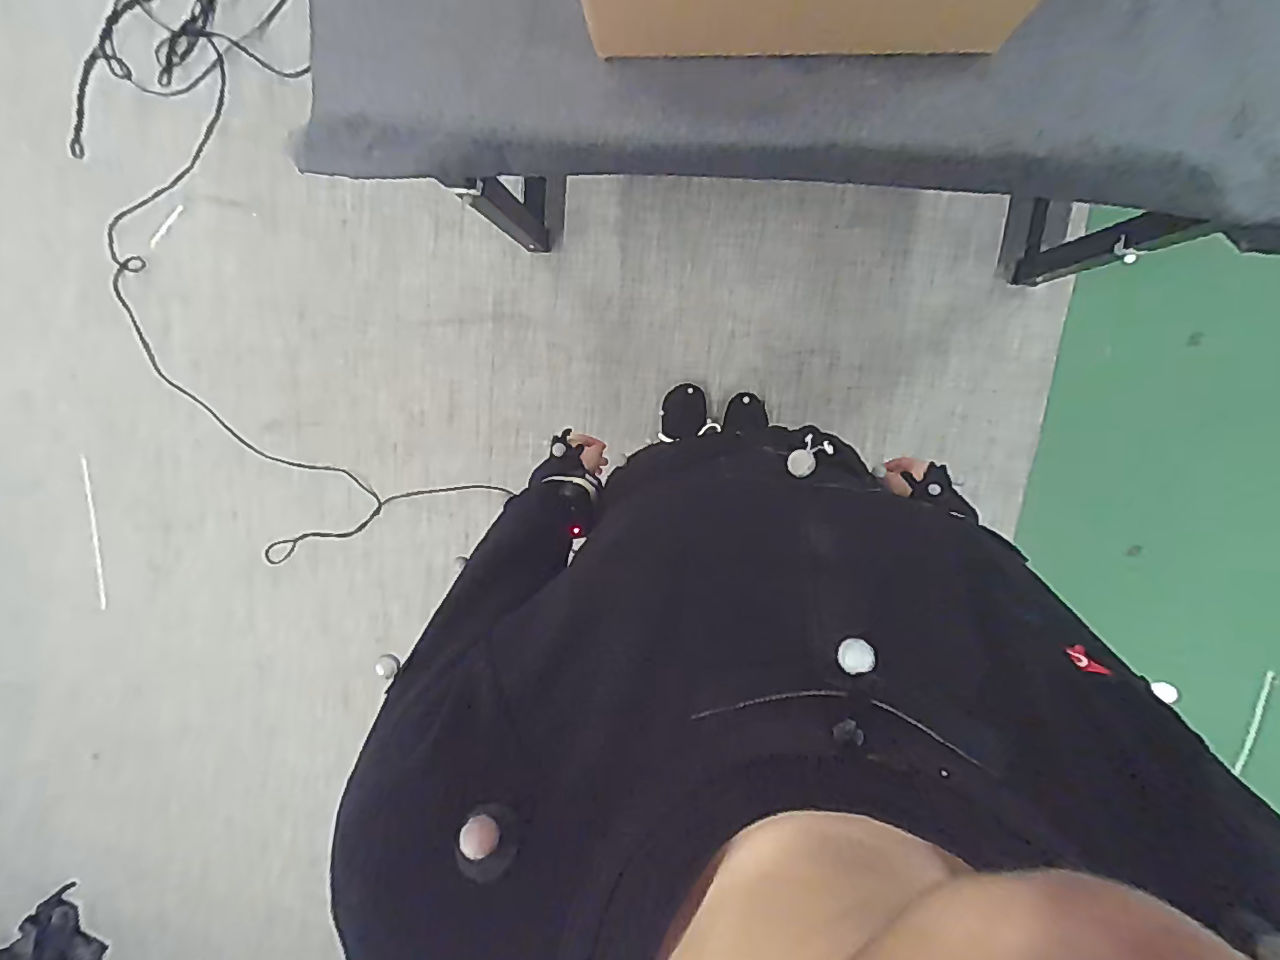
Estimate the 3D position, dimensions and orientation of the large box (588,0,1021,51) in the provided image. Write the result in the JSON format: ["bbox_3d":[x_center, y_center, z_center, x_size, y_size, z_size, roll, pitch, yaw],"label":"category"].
[{"bbox_3d":[0.144,-0.567,0.383,0.408,0.320,0.320,2,101,4],"label":"large box"}]
